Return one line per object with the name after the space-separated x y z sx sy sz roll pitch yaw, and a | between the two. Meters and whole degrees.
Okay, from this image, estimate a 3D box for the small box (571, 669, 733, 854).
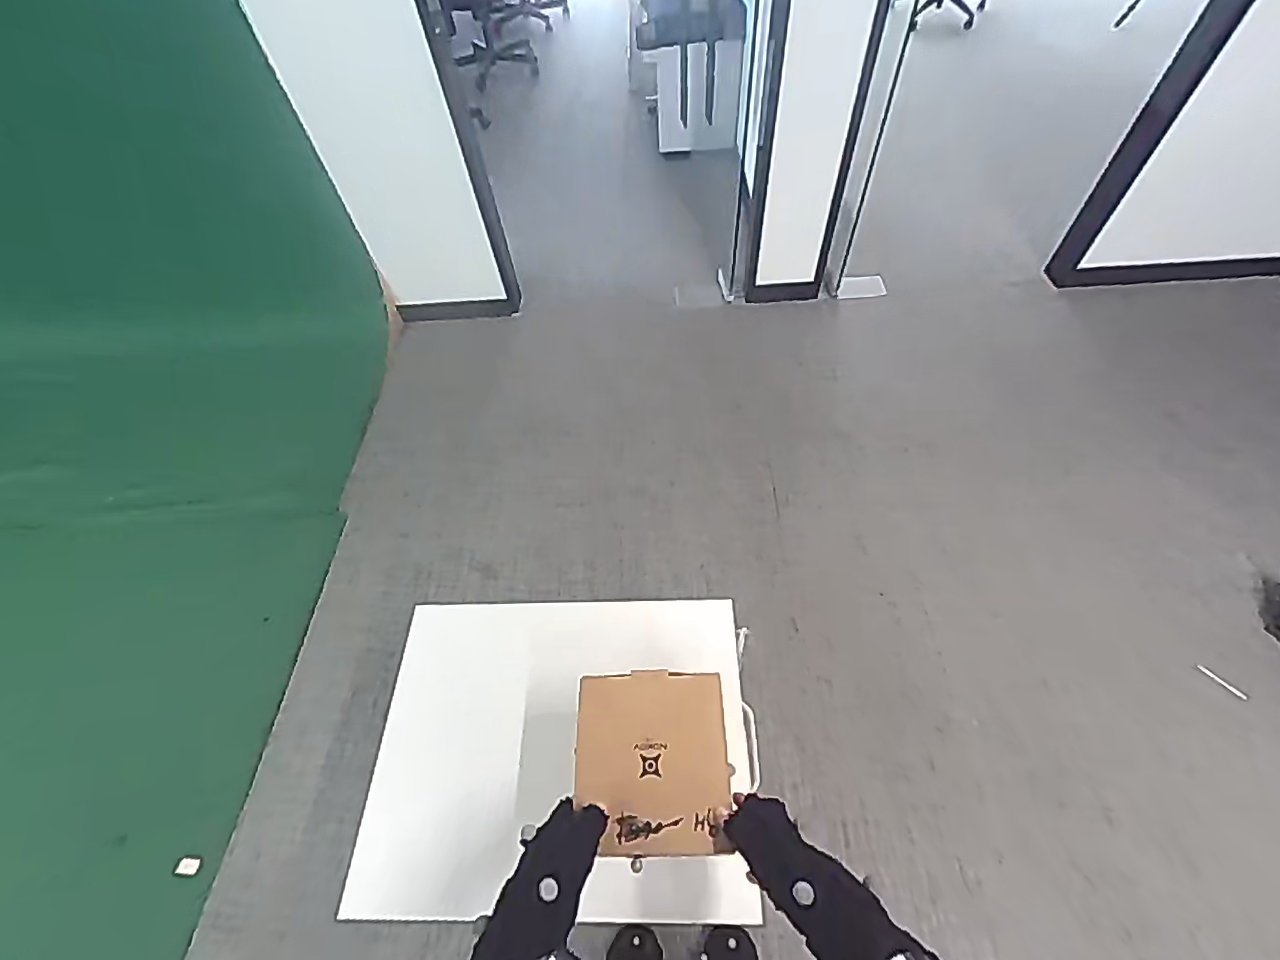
0.017 0.340 0.650 0.168 0.176 0.179 -3 55 4 | small box
